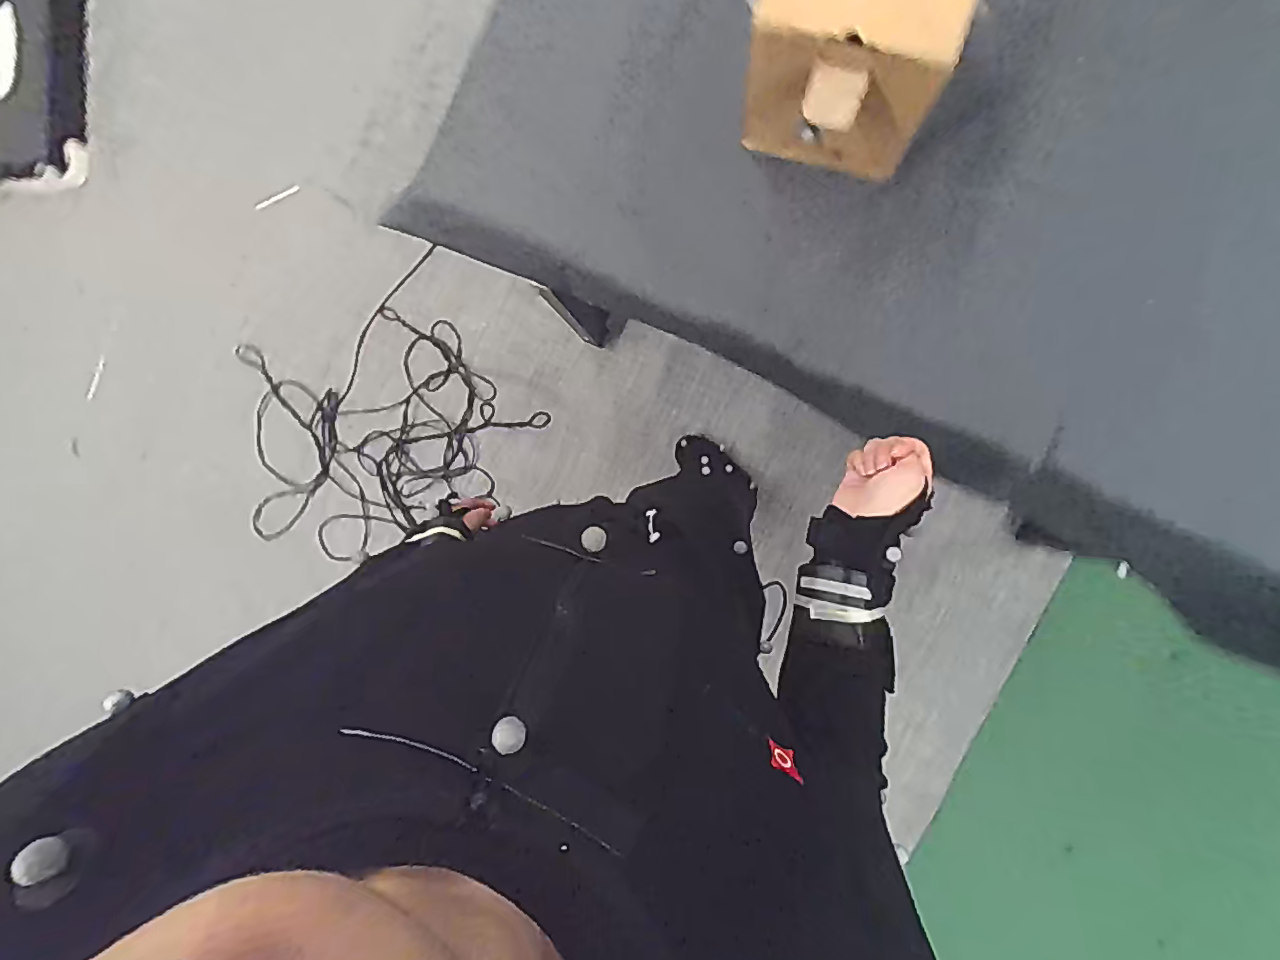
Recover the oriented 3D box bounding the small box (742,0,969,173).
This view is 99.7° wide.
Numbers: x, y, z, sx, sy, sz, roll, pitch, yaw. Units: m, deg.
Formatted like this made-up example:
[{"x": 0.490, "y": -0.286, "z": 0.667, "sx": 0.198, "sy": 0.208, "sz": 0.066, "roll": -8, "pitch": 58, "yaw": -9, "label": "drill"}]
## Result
[{"x": 0.199, "y": -0.434, "z": 0.509, "sx": 0.168, "sy": 0.176, "sz": 0.179, "roll": 17, "pitch": 93, "yaw": 6, "label": "small box"}]
